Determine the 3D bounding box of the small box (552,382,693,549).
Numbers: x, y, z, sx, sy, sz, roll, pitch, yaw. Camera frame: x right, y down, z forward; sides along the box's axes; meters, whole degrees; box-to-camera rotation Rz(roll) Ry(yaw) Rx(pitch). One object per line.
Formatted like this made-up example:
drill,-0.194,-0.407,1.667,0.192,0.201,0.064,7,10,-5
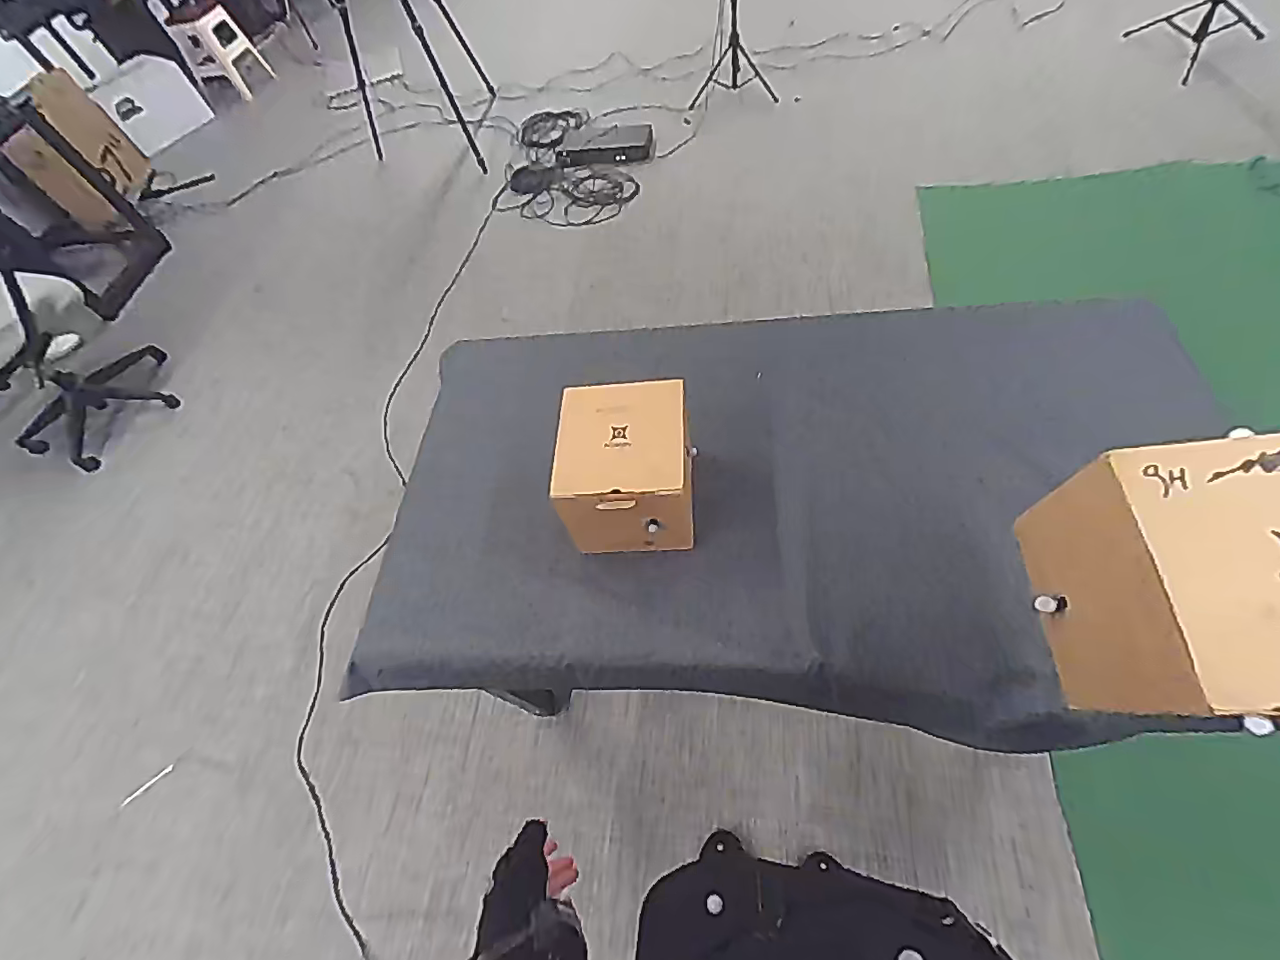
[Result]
small box,-0.013,-0.011,0.752,0.168,0.176,0.179,-3,57,7
